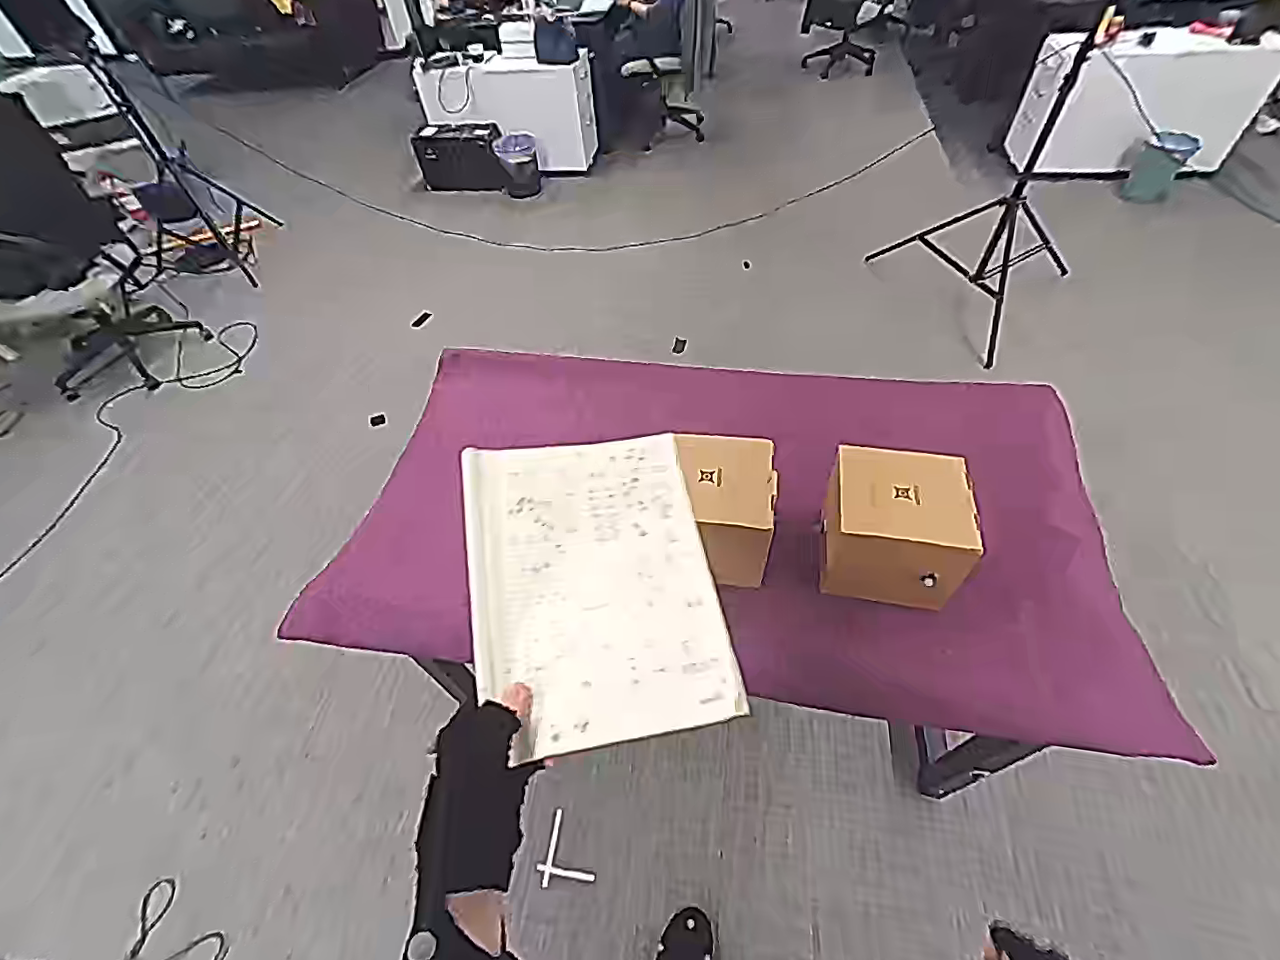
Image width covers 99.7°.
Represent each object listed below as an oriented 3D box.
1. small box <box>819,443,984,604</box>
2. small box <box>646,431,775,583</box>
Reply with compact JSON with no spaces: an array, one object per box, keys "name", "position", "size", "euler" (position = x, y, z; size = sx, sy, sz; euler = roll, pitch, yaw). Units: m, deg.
[{"name":"small box","position":[0.372,0.068,0.805],"size":[0.179,0.176,0.168],"euler":[6,49,12]},{"name":"small box","position":[0.110,0.045,0.846],"size":[0.179,0.176,0.168],"euler":[5,51,8]}]
